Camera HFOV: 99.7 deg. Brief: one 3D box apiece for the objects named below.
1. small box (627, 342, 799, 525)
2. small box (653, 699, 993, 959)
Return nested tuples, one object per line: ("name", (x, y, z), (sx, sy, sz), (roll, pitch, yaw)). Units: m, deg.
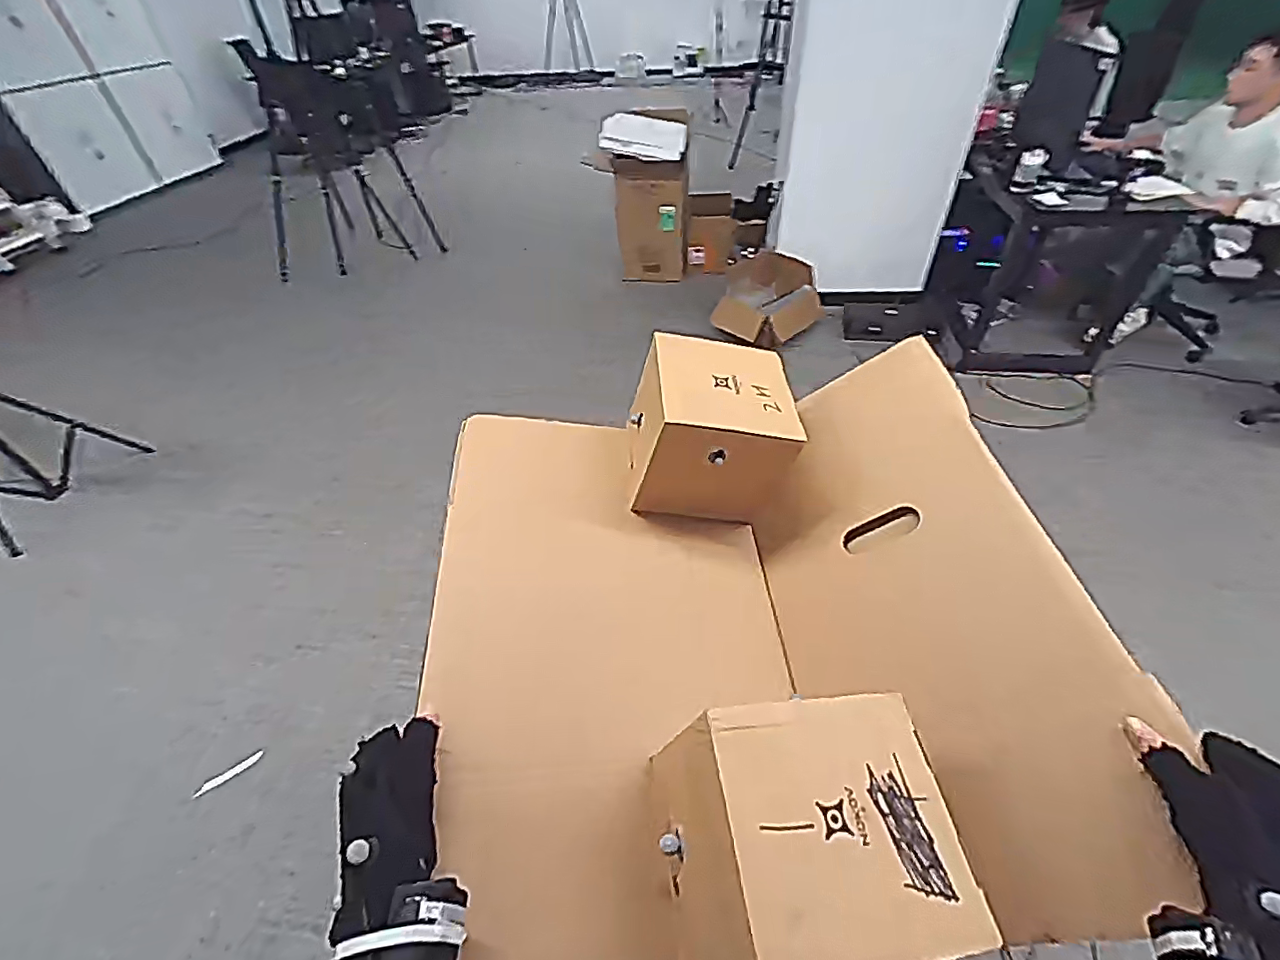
("small box", (0.080, -0.055, 0.719), (0.179, 0.176, 0.168), (7, 50, -12))
("small box", (0.123, 0.292, 0.442), (0.179, 0.176, 0.168), (1, 52, -15))
